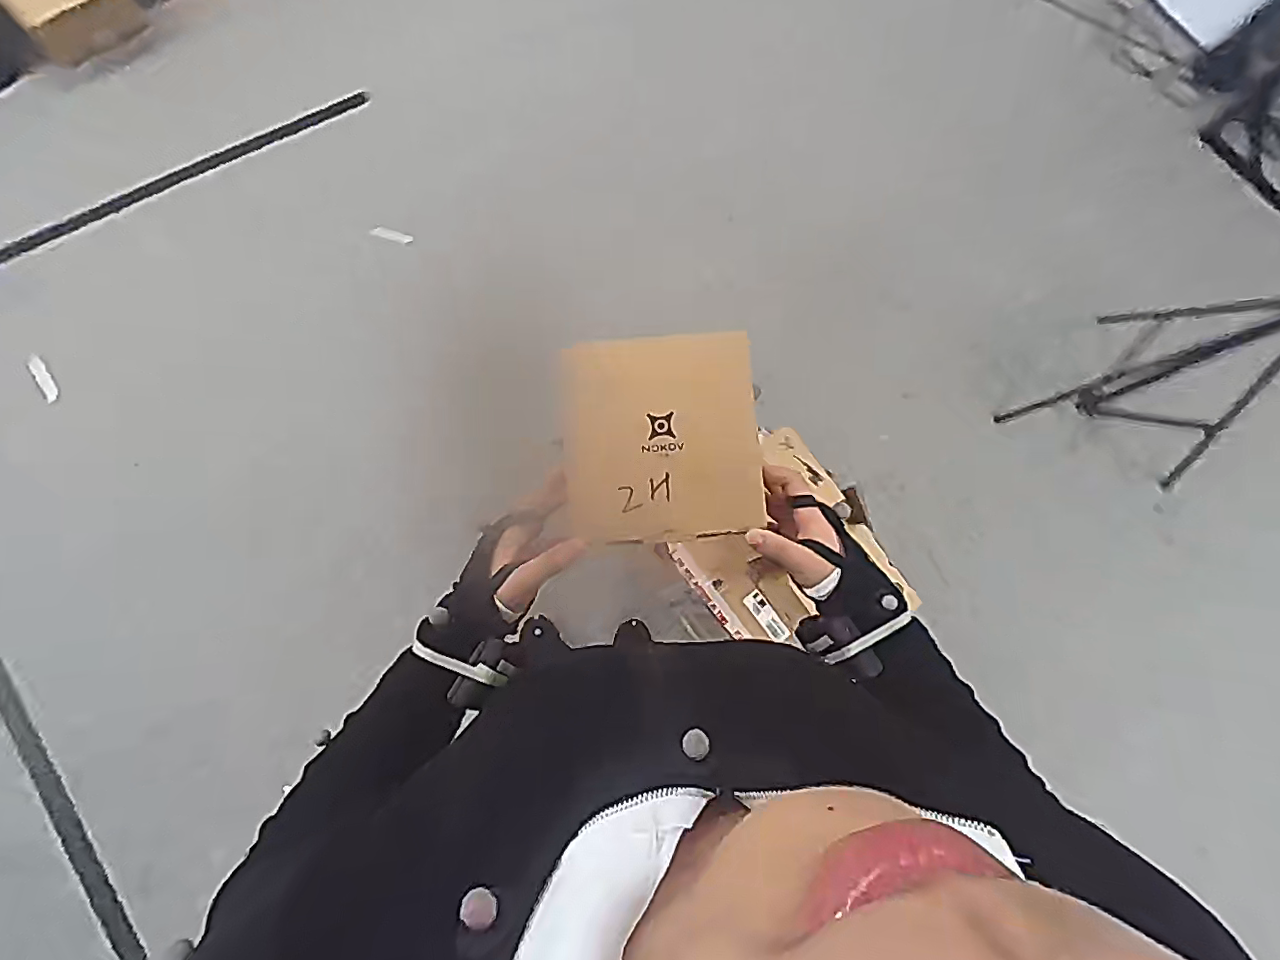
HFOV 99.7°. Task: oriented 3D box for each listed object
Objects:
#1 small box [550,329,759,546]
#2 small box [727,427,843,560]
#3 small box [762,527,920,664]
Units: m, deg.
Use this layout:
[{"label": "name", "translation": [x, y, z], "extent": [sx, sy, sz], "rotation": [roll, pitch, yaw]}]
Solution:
[{"label": "small box", "translation": [0.008, -0.029, 0.530], "extent": [0.168, 0.176, 0.179], "rotation": [-6, 85, -2]}, {"label": "small box", "translation": [0.236, 0.034, 1.014], "extent": [0.179, 0.176, 0.168], "rotation": [-33, 79, -10]}, {"label": "small box", "translation": [0.353, 0.206, 0.983], "extent": [0.179, 0.176, 0.168], "rotation": [-33, 83, -11]}]
